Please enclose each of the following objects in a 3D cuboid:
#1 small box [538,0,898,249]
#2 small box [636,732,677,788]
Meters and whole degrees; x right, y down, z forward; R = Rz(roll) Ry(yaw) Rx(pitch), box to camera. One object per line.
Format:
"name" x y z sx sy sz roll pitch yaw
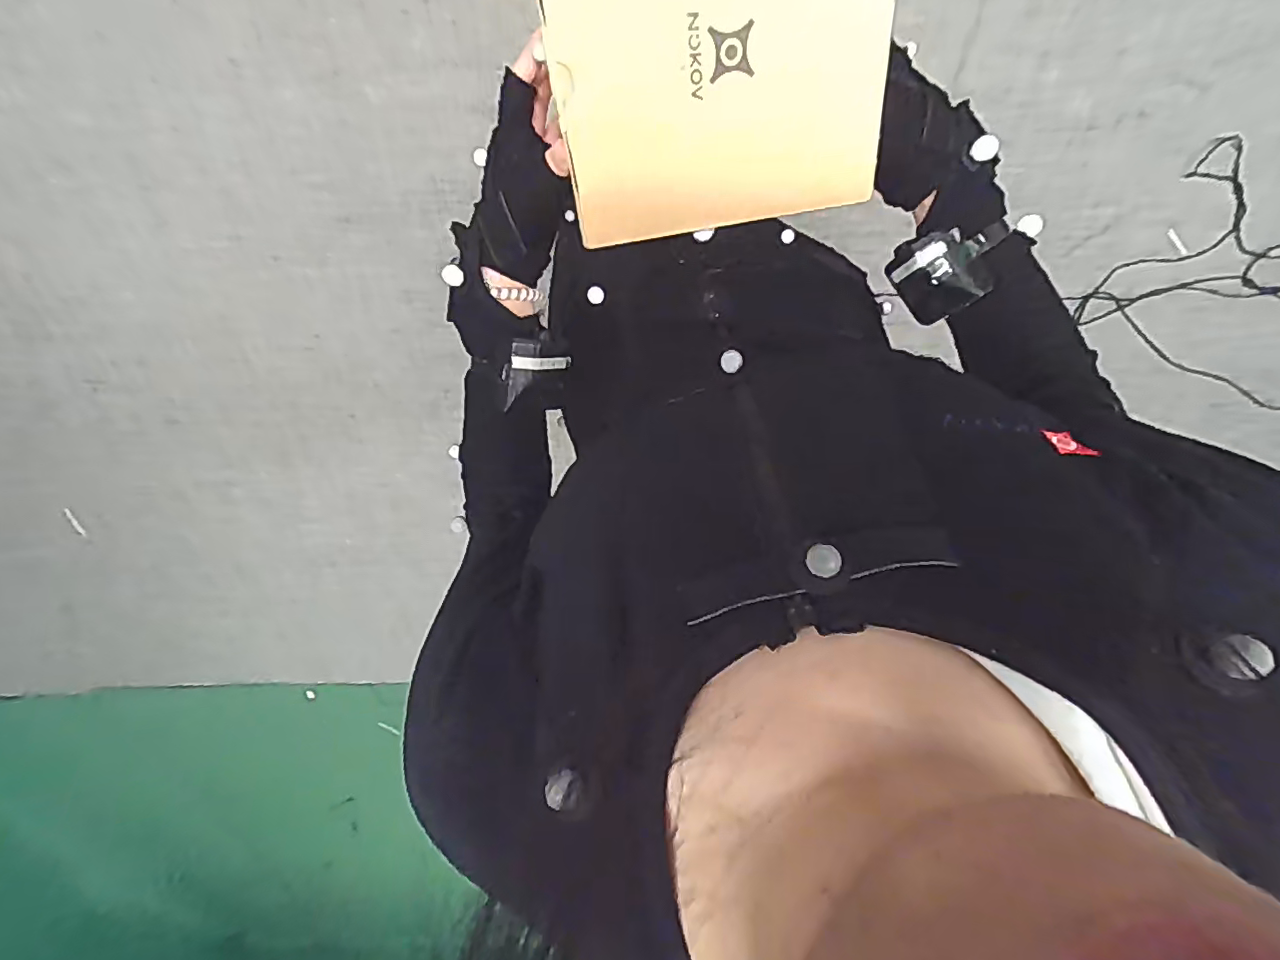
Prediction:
"small box" 0.035 -0.262 0.332 0.179 0.176 0.168 -9 128 1
"small box" 0.073 1.259 2.433 0.179 0.176 0.168 -4 124 1
